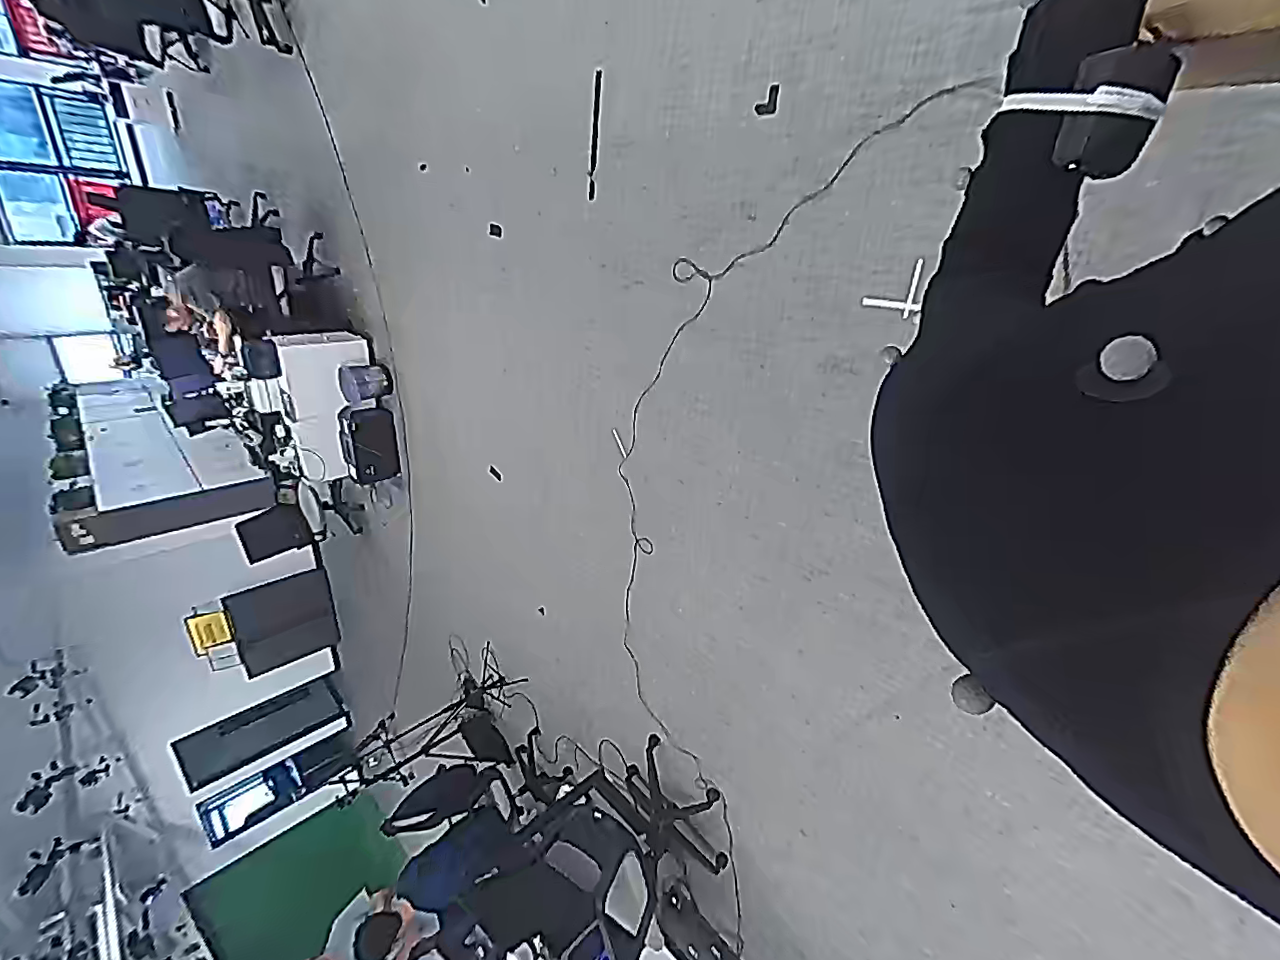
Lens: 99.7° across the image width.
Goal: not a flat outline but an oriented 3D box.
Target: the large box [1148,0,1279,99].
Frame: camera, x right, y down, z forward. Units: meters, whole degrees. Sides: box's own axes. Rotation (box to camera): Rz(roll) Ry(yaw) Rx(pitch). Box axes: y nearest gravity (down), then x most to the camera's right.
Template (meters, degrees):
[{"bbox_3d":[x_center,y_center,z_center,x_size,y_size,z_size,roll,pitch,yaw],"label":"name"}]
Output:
[{"bbox_3d":[0.557,-0.407,0.256,0.408,0.320,0.320,20,126,36],"label":"large box"}]
